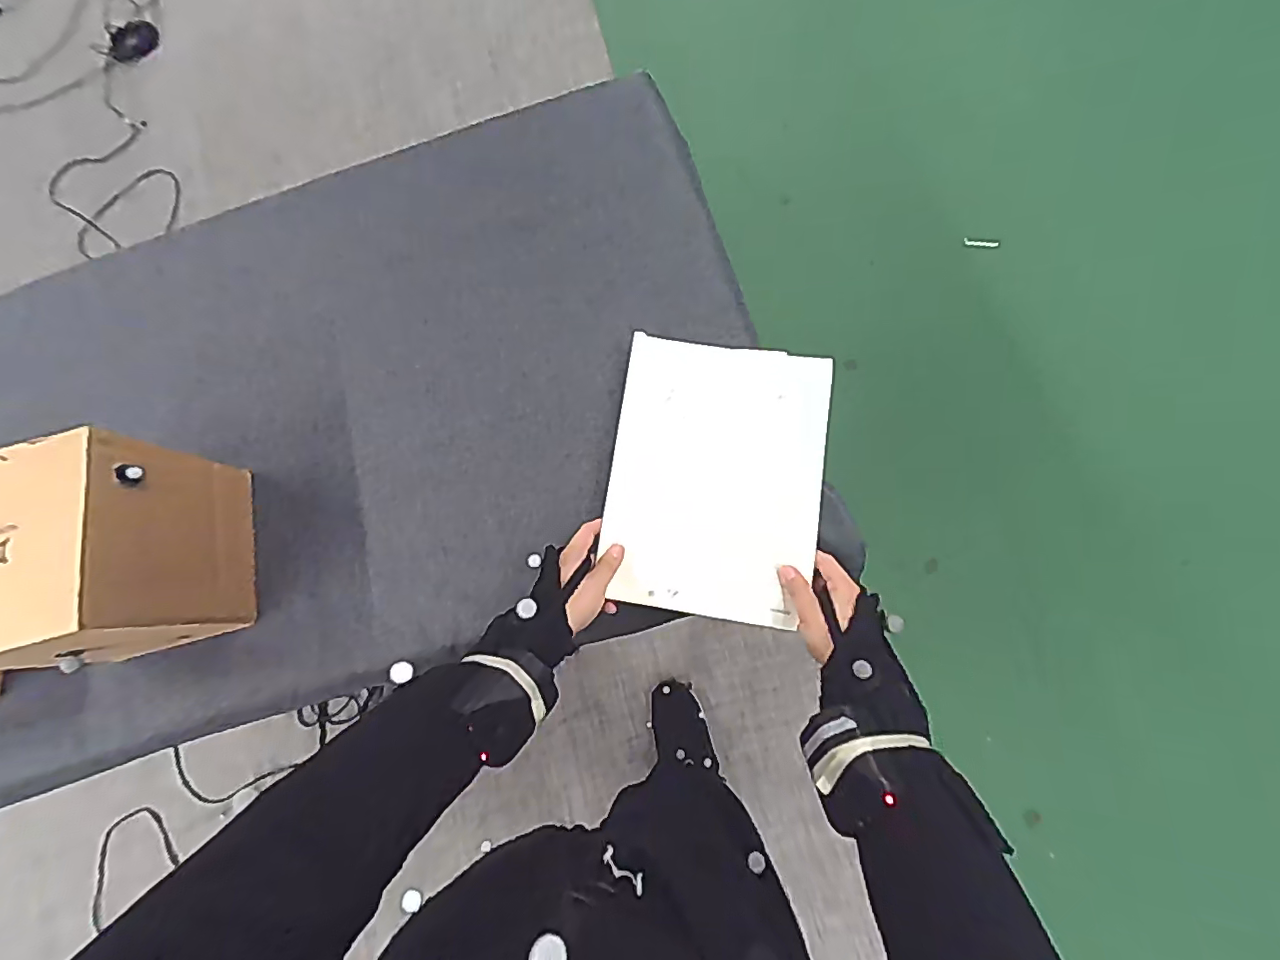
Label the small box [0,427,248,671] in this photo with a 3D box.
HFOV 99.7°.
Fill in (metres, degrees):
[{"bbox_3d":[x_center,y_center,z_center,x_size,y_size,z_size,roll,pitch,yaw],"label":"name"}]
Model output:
[{"bbox_3d":[-0.509,0.074,0.510,0.168,0.176,0.179,-15,74,5],"label":"small box"}]
